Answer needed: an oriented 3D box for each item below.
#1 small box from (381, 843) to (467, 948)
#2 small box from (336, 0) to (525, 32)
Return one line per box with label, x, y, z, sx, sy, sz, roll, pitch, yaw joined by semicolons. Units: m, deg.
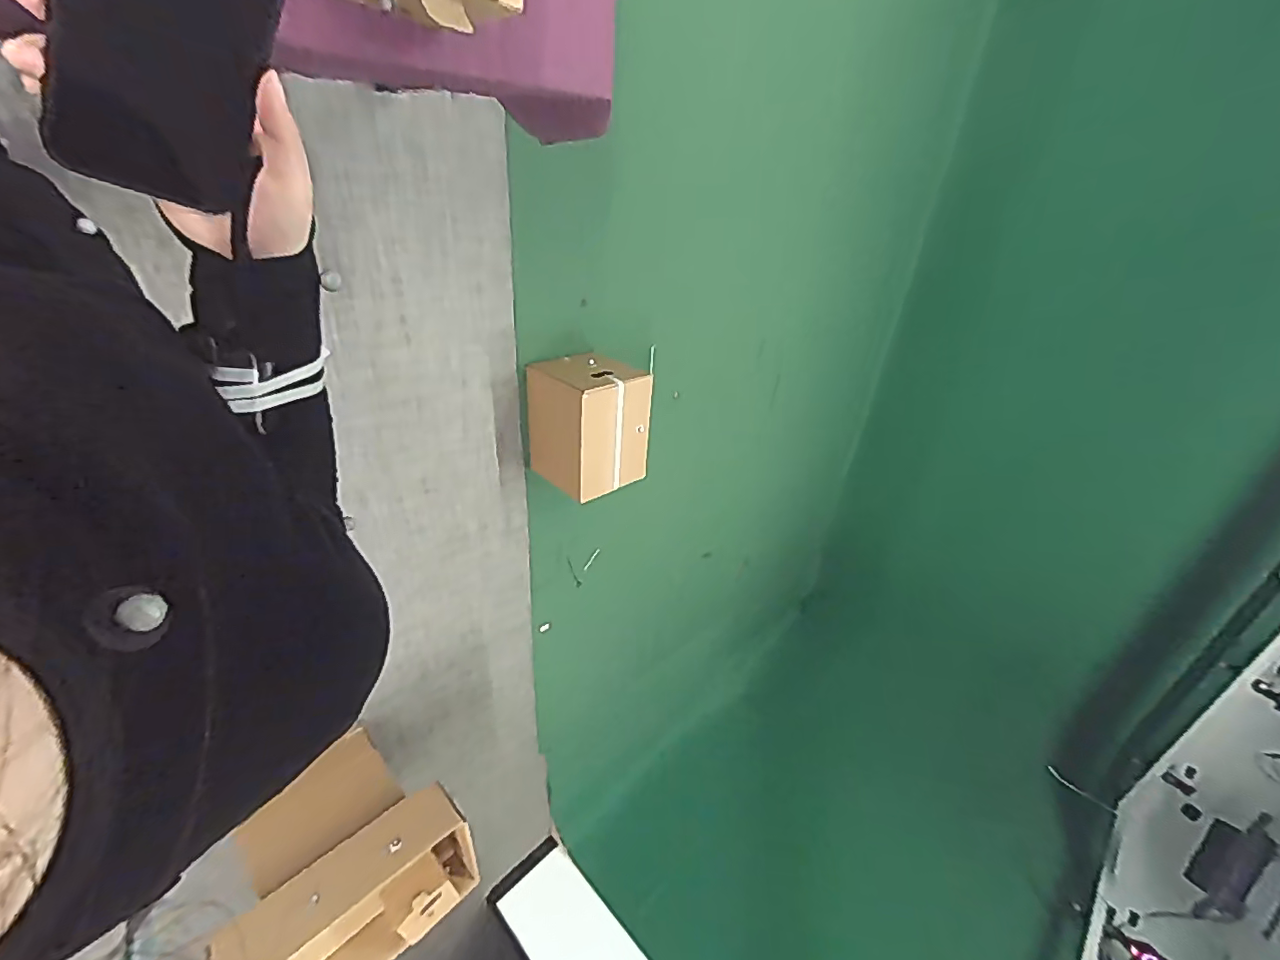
small box;-0.660;1.258;1.649;0.168;0.176;0.179;-31;136;-32
small box;-0.223;-0.562;0.512;0.168;0.176;0.179;-19;128;-41
